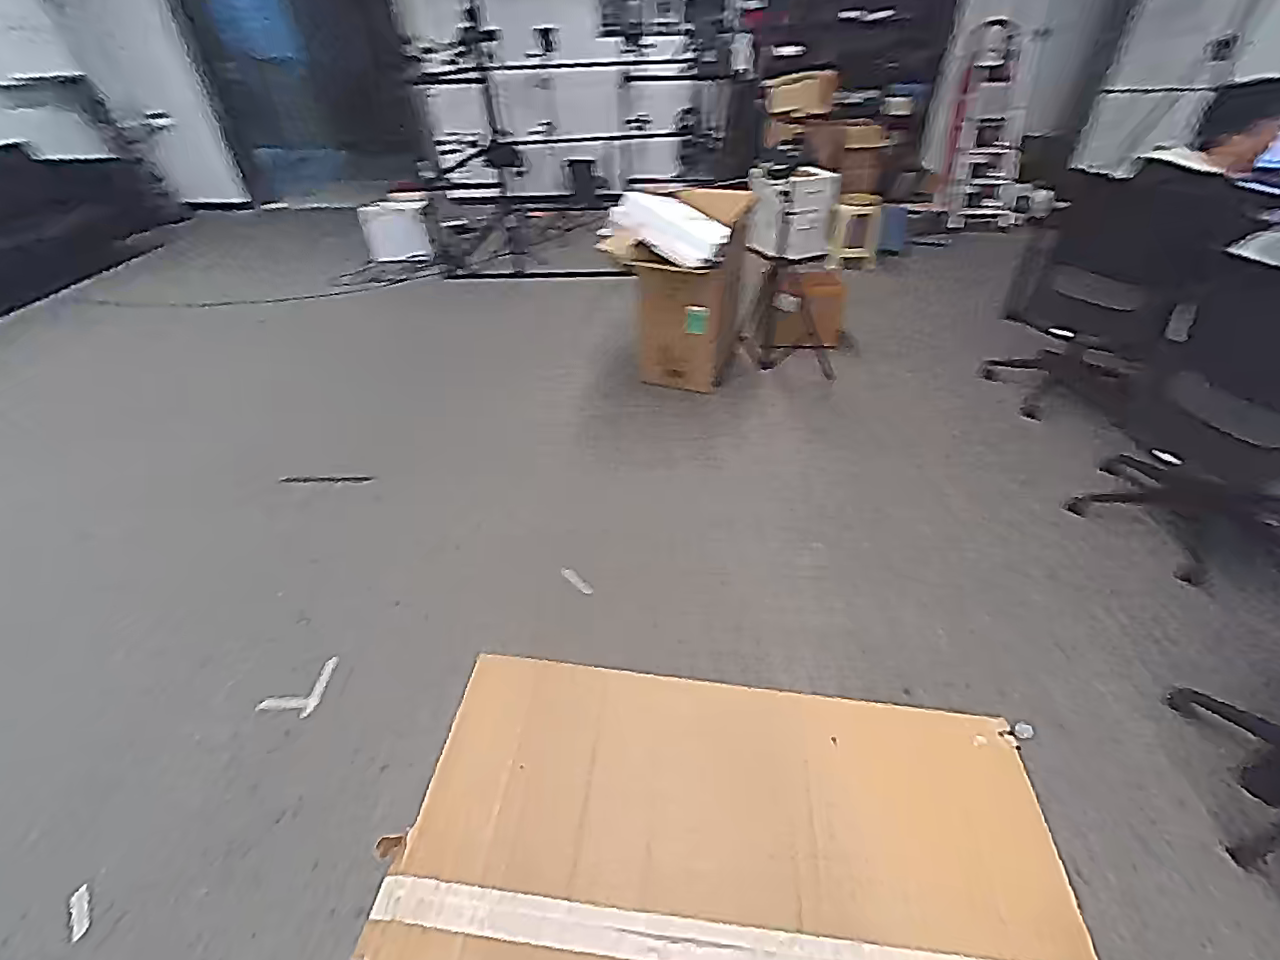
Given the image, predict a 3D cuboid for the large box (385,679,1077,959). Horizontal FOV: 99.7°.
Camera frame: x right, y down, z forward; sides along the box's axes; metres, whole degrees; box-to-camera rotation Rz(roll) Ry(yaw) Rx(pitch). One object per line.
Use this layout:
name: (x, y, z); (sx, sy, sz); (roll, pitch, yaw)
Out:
large box: (0.046, 0.384, 0.407); (0.408, 0.320, 0.320); (6, 43, 2)
